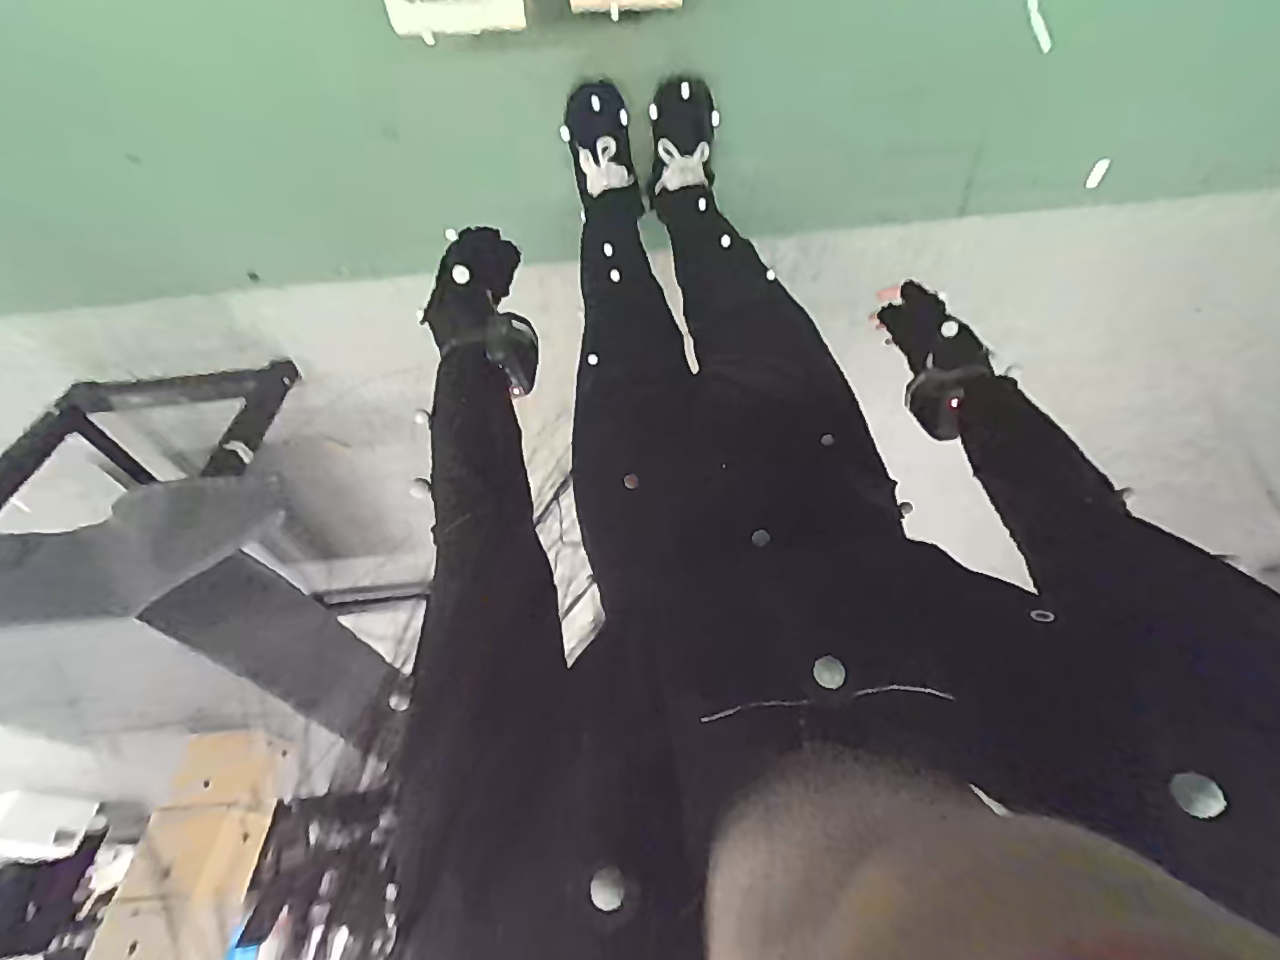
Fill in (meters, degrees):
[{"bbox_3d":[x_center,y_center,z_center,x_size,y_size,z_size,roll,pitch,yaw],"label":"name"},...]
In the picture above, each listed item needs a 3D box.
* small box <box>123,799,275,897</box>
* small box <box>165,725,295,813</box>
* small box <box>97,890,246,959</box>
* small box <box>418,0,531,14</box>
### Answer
[{"bbox_3d":[-0.979,0.835,1.221,0.179,0.176,0.168,-6,138,1],"label":"small box"},{"bbox_3d":[-0.988,0.715,1.330,0.179,0.176,0.168,-5,138,2],"label":"small box"},{"bbox_3d":[-0.967,0.956,1.109,0.168,0.176,0.179,-5,138,1],"label":"small box"},{"bbox_3d":[-0.241,-0.803,0.779,0.168,0.176,0.179,-2,138,-2],"label":"small box"}]
